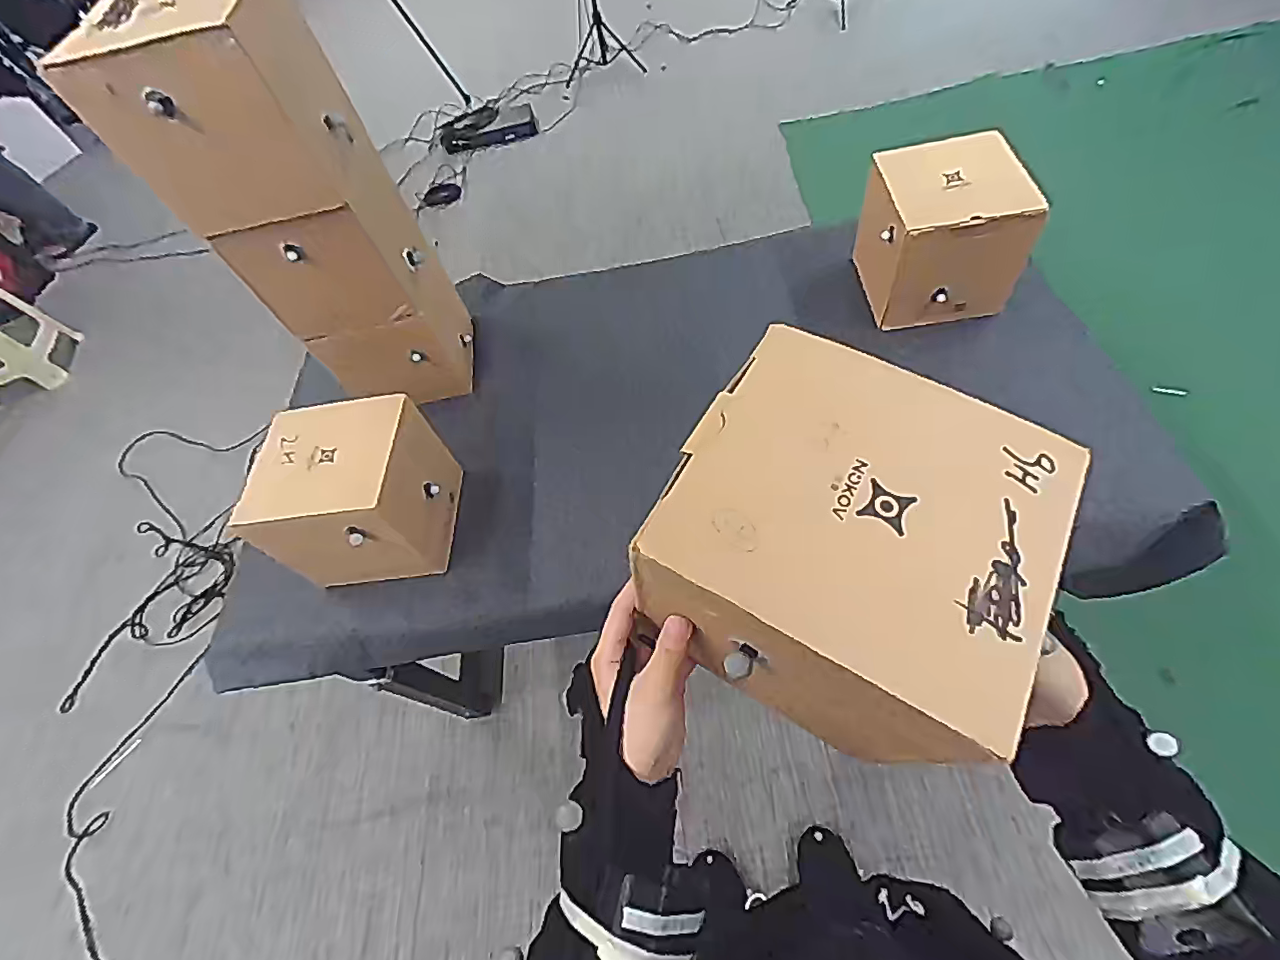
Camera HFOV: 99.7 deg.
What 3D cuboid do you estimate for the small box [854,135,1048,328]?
[{"bbox_3d":[0.415,-0.344,0.763,0.168,0.176,0.179,-7,60,7],"label":"small box"}]

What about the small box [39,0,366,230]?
[{"bbox_3d":[-0.424,-0.389,0.562,0.179,0.176,0.168,-10,60,3],"label":"small box"}]

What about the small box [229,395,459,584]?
[{"bbox_3d":[-0.350,0.019,0.683,0.179,0.176,0.168,-7,55,6],"label":"small box"}]

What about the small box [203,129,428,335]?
[{"bbox_3d":[-0.404,-0.314,0.707,0.179,0.176,0.168,-12,60,2],"label":"small box"}]

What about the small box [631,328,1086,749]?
[{"bbox_3d":[0.111,0.046,0.333,0.179,0.176,0.168,27,66,15],"label":"small box"}]
